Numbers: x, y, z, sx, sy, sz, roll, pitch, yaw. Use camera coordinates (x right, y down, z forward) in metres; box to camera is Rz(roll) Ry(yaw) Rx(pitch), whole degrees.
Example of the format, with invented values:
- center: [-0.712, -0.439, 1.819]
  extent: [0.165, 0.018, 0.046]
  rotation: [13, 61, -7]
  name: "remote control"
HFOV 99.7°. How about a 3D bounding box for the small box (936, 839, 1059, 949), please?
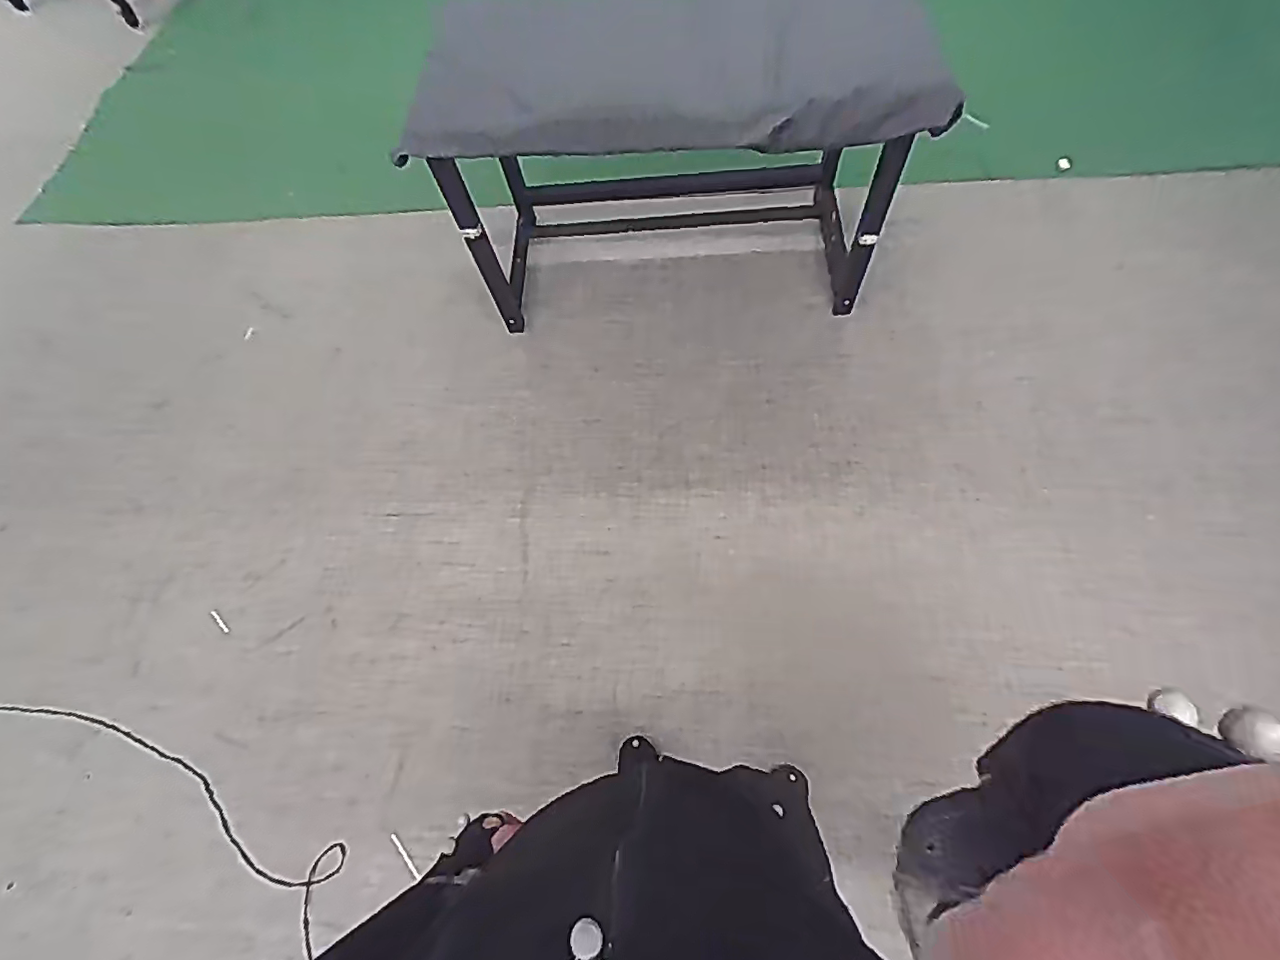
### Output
- center: [0.744, 0.872, 1.121]
  extent: [0.179, 0.176, 0.168]
  rotation: [11, 66, 10]
  name: "small box"
